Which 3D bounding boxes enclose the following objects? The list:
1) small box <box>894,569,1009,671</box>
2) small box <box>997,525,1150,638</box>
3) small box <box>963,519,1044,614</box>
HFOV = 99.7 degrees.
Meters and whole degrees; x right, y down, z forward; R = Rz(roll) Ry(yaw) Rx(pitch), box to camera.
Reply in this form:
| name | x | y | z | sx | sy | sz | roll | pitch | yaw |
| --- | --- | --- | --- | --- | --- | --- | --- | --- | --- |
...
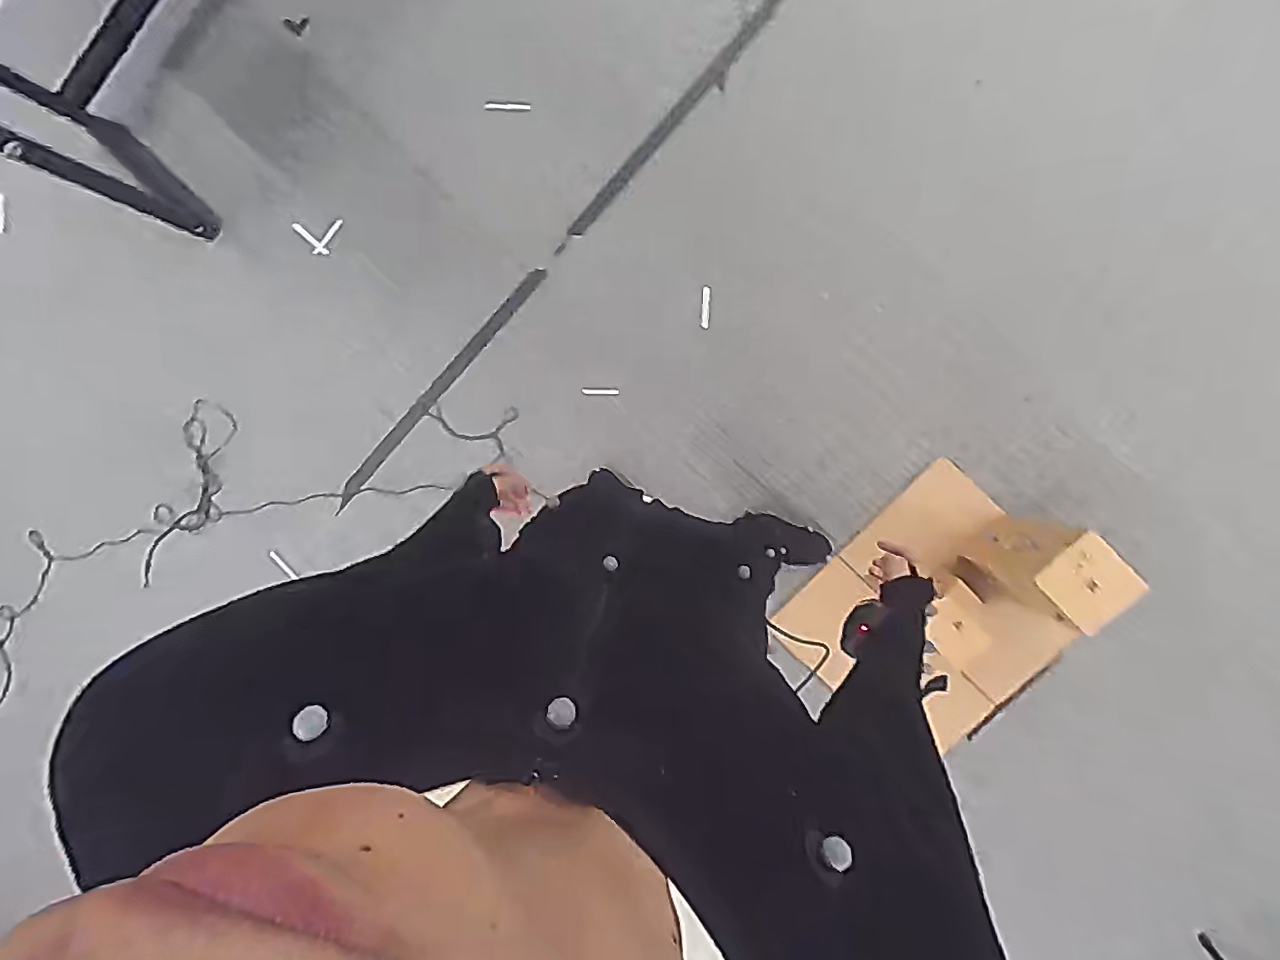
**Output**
| name | x | y | z | sx | sy | sz | roll | pitch | yaw |
| --- | --- | --- | --- | --- | --- | --- | --- | --- | --- |
| small box | 0.818 | 0.364 | 1.440 | 0.168 | 0.176 | 0.179 | -42 | 87 | 8 |
| small box | 0.983 | 0.222 | 1.243 | 0.168 | 0.176 | 0.179 | -43 | 87 | 7 |
| small box | 0.993 | 0.216 | 1.408 | 0.168 | 0.176 | 0.179 | -44 | 86 | 7 |
